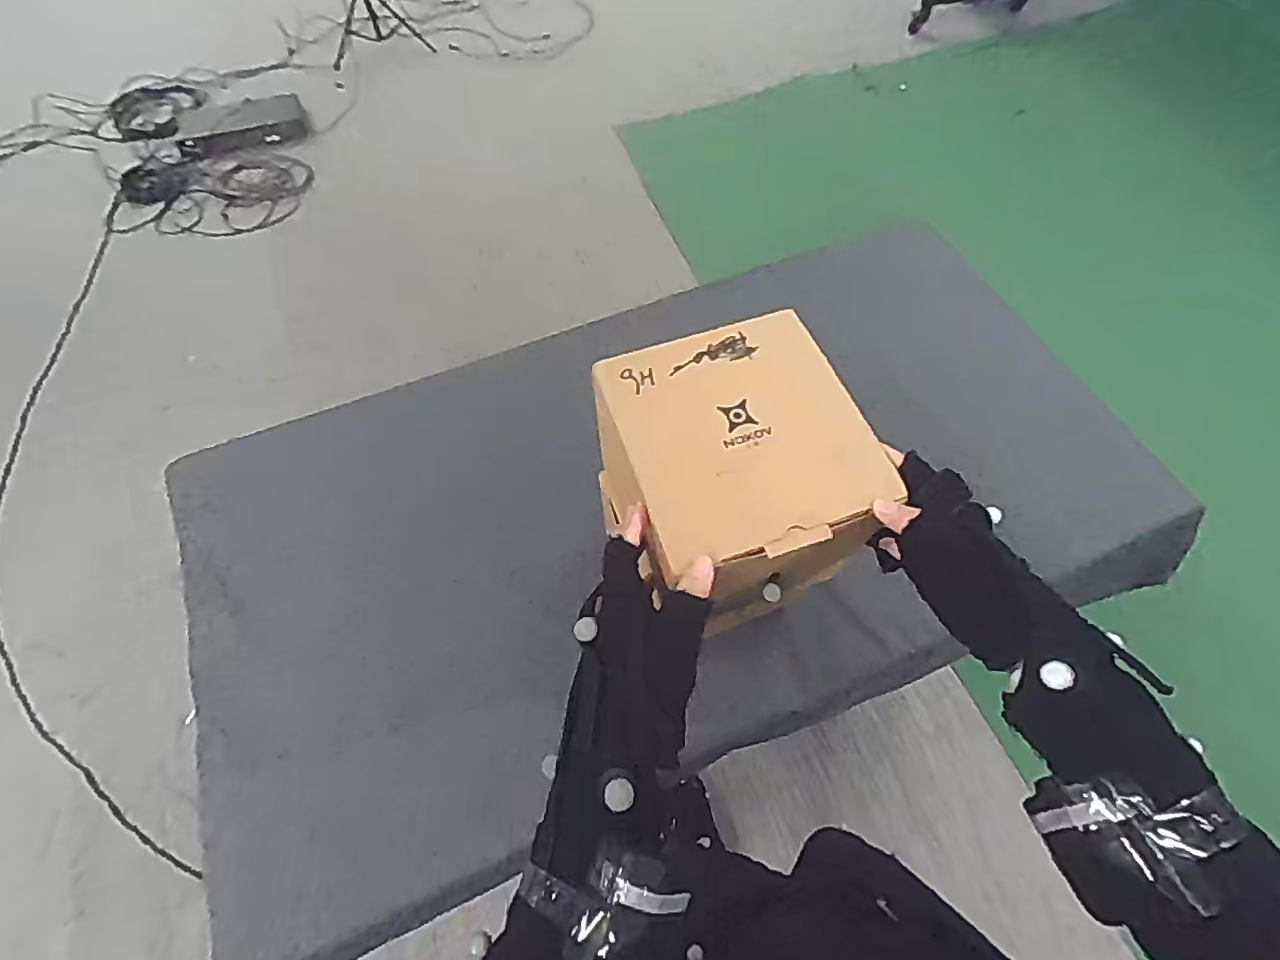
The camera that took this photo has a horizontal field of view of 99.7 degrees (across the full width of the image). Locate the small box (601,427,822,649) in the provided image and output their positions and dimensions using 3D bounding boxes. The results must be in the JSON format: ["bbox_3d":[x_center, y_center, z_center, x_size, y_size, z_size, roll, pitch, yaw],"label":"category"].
[{"bbox_3d":[0.068,0.073,0.607,0.179,0.176,0.168,-19,65,-11],"label":"small box"}]
